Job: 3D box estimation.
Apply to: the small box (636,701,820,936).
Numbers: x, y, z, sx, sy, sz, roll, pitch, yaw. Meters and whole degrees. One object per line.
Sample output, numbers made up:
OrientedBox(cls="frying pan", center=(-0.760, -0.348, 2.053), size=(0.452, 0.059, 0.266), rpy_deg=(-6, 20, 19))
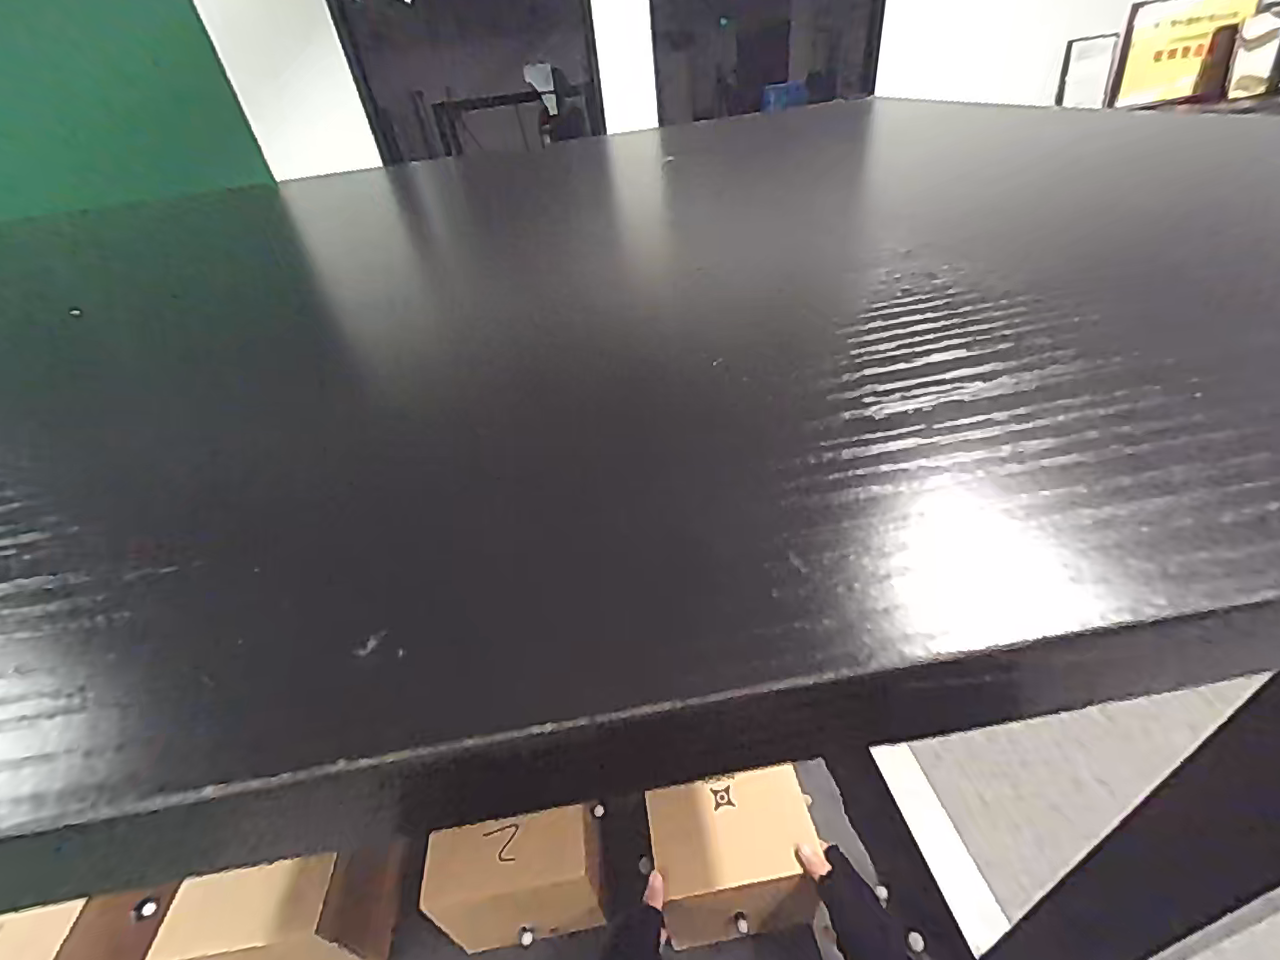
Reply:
OrientedBox(cls="small box", center=(0.095, 0.395, 0.630), size=(0.168, 0.176, 0.179), rpy_deg=(-10, 36, -2))

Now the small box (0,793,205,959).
OrientedBox(cls="small box", center=(-0.642, 0.499, 0.623), size=(0.168, 0.176, 0.179), rpy_deg=(-9, 37, -2))

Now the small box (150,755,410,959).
OrientedBox(cls="small box", center=(-0.392, 0.461, 0.635), size=(0.168, 0.176, 0.179), rpy_deg=(-9, 37, -2))
